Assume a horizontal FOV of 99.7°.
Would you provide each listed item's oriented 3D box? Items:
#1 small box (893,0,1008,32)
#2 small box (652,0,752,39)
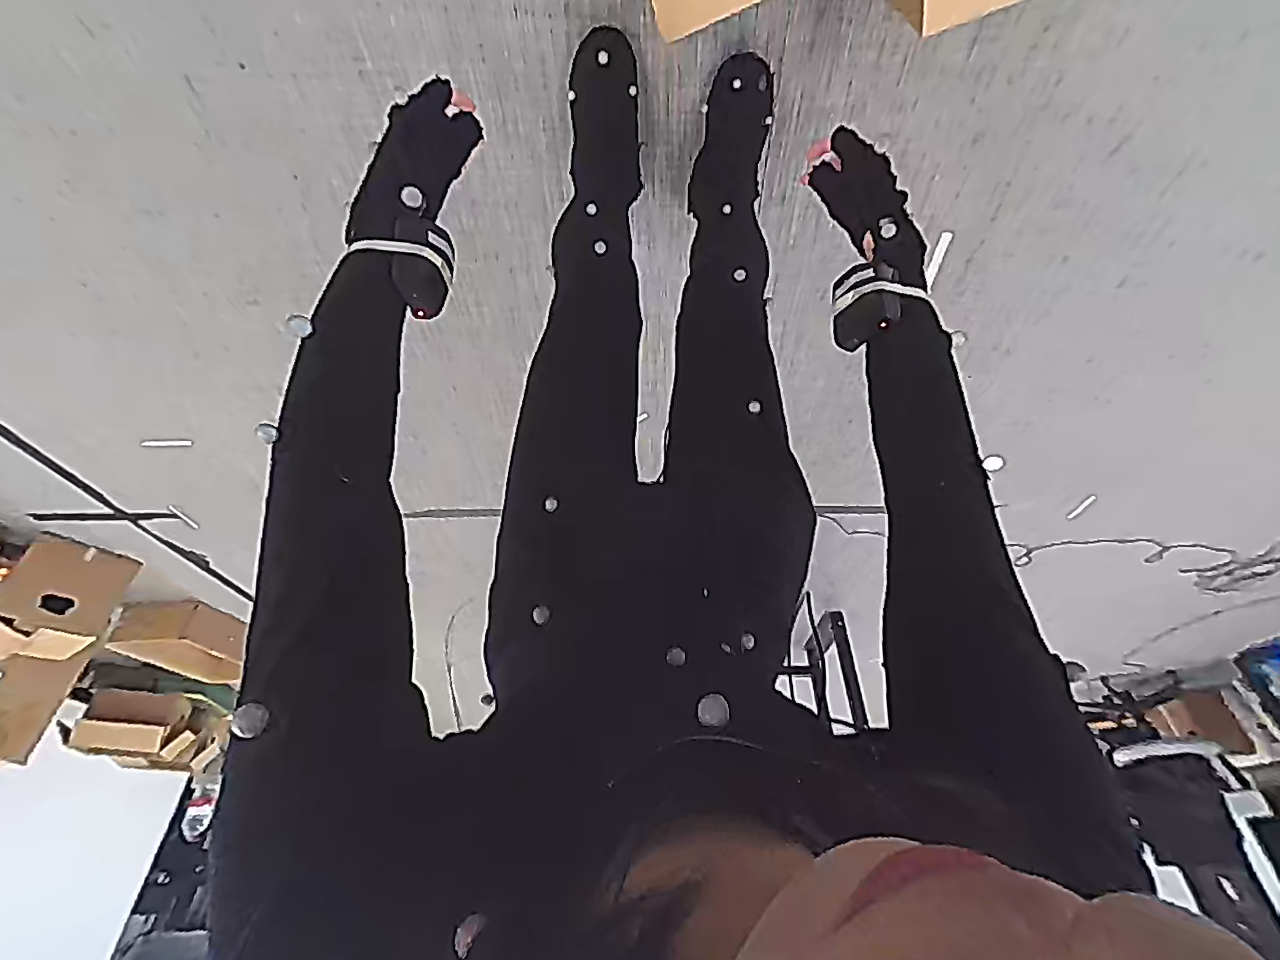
[{"bbox_3d":[0.415,-0.699,0.656,0.179,0.176,0.168,-12,141,16],"label":"small box"},{"bbox_3d":[0.074,-0.694,0.656,0.168,0.176,0.179,-13,142,17],"label":"small box"}]
